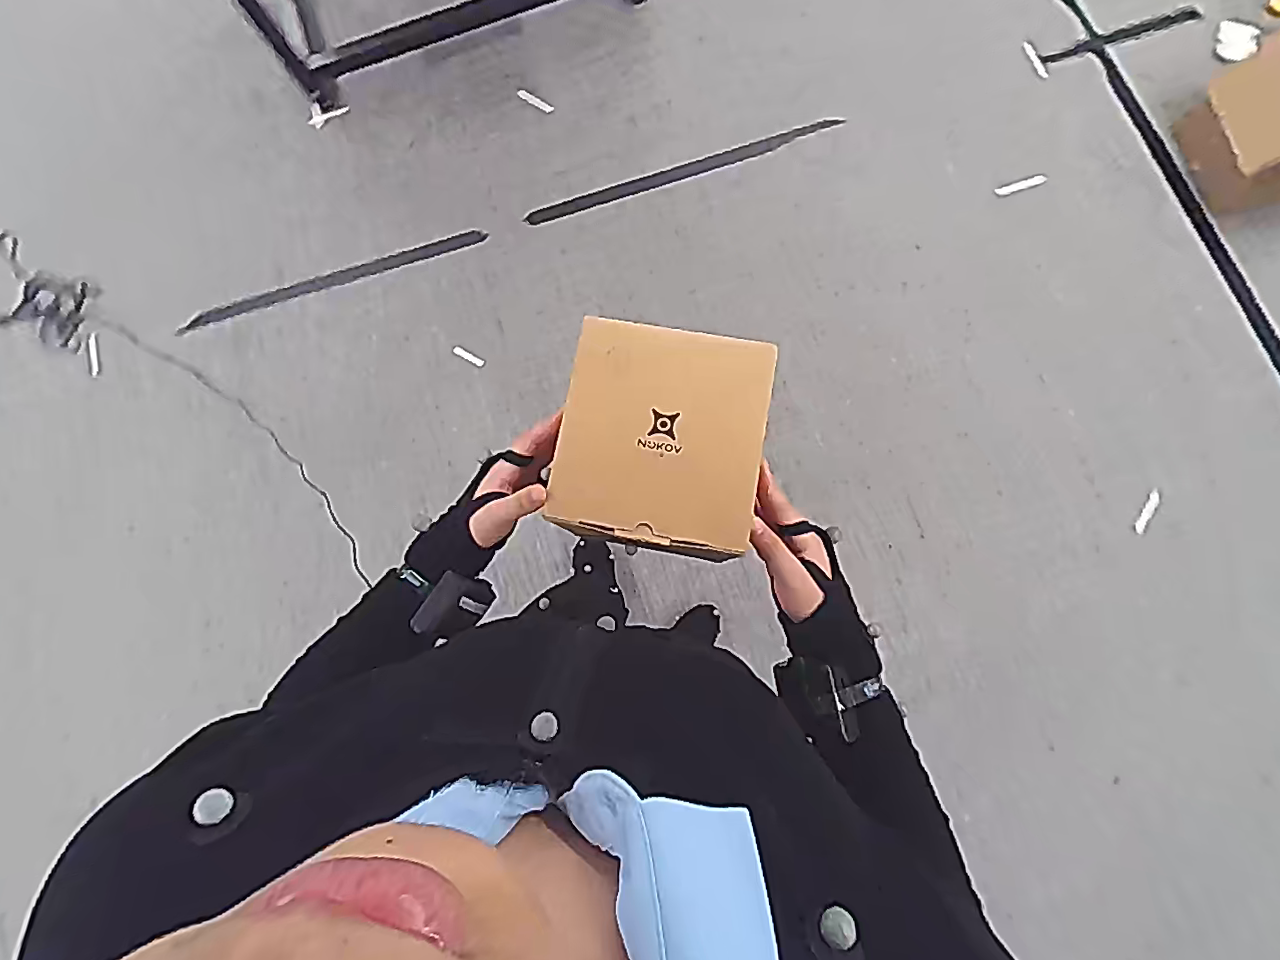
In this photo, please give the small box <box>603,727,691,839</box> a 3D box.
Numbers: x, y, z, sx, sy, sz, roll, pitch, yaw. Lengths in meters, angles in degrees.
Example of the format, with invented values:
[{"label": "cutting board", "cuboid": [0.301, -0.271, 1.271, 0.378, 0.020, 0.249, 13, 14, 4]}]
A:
[{"label": "small box", "cuboid": [0.017, 0.730, 1.329, 0.168, 0.176, 0.179, -20, 80, 0]}]
